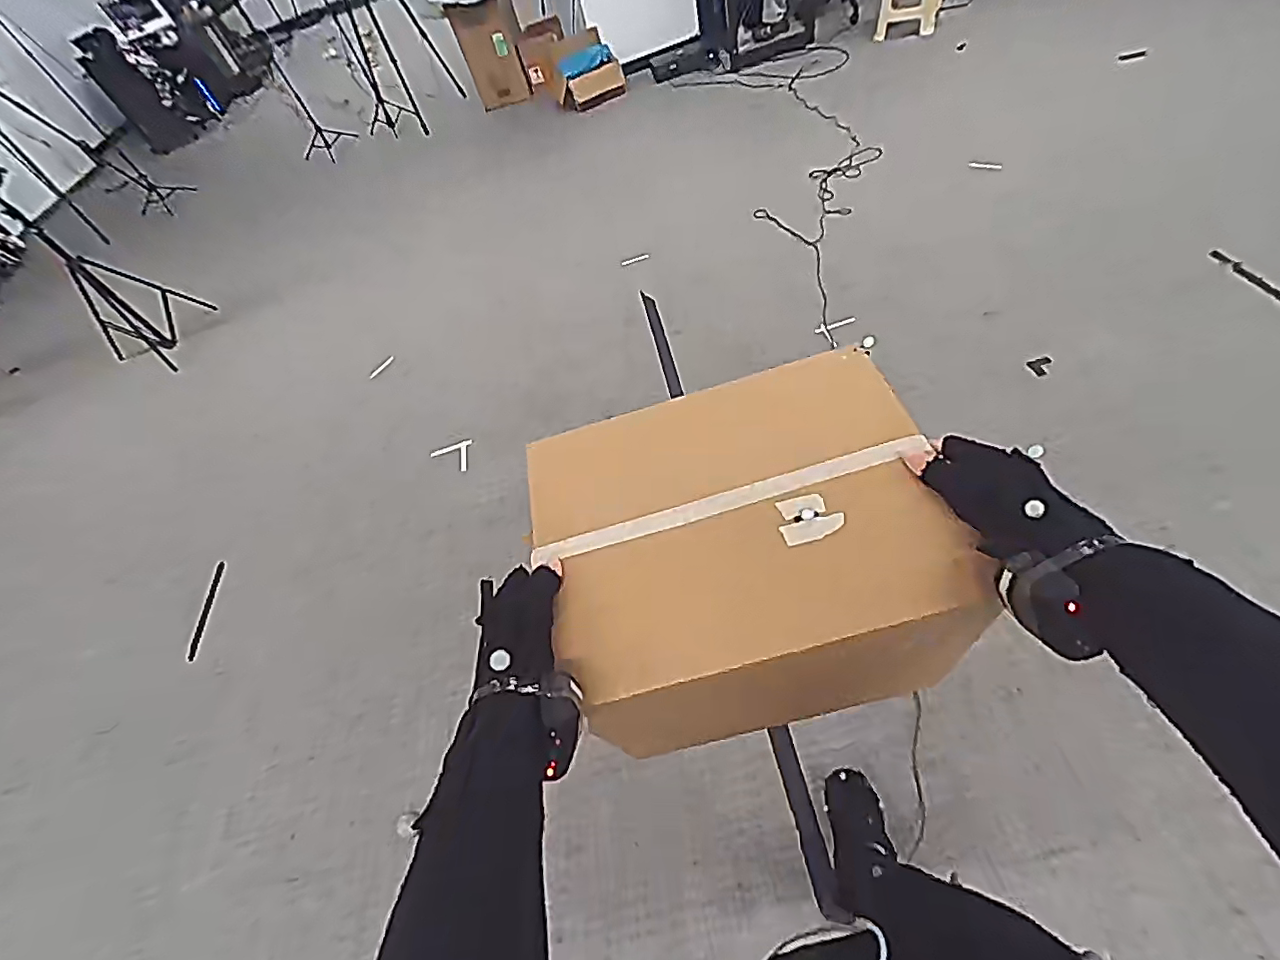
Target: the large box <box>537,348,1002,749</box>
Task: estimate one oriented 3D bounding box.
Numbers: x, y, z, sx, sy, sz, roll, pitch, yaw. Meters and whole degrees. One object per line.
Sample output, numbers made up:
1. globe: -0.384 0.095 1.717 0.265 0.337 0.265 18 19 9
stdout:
1. large box: 0.124 0.103 0.678 0.408 0.320 0.320 -17 55 3
